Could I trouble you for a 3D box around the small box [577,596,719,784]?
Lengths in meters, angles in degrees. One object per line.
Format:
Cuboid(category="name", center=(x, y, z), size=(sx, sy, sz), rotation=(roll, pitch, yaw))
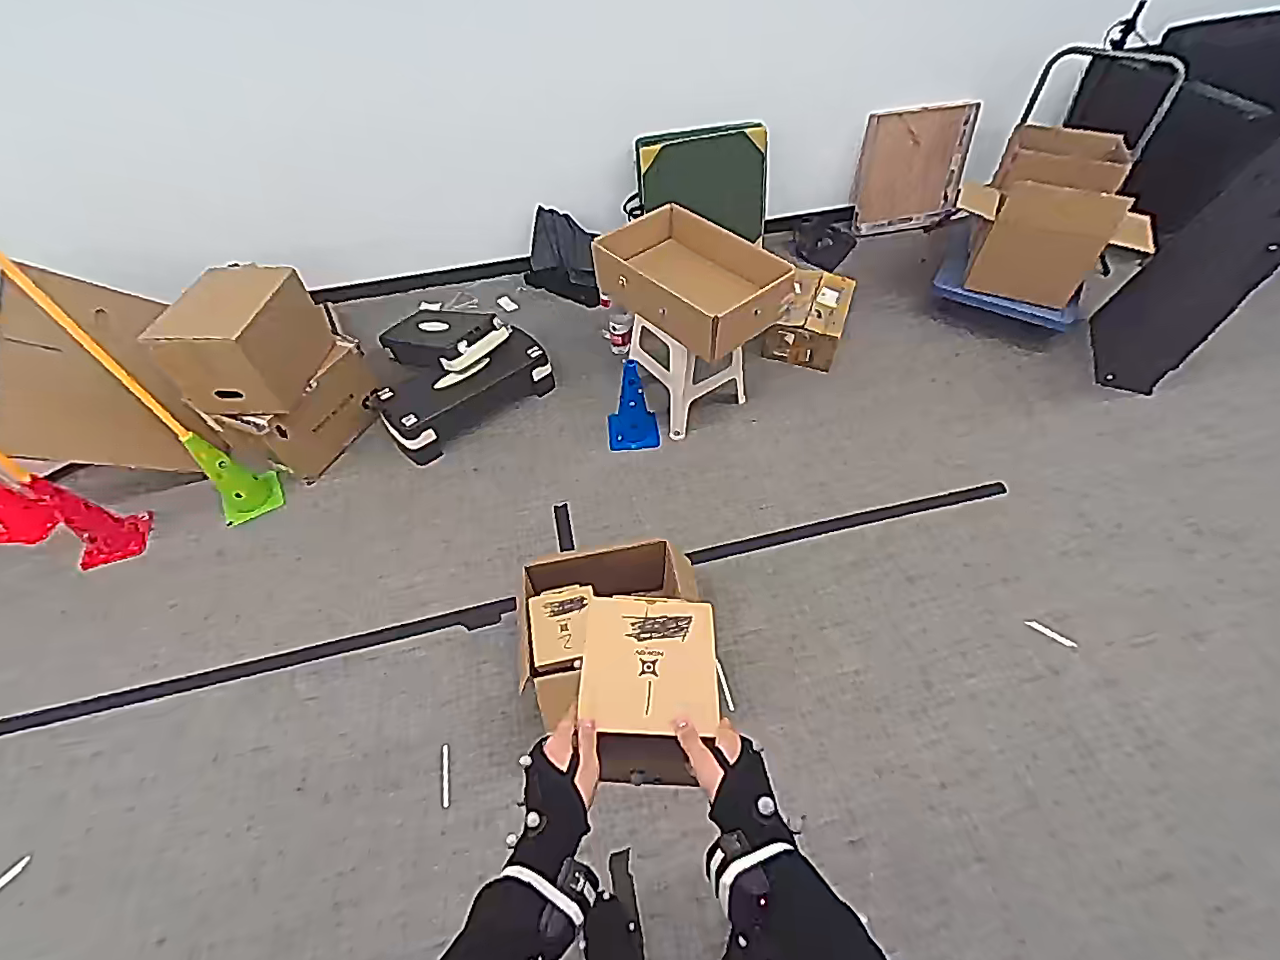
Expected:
Cuboid(category="small box", center=(0.006, 0.280, 0.724), size=(0.168, 0.176, 0.179), rotation=(4, 44, -1))
